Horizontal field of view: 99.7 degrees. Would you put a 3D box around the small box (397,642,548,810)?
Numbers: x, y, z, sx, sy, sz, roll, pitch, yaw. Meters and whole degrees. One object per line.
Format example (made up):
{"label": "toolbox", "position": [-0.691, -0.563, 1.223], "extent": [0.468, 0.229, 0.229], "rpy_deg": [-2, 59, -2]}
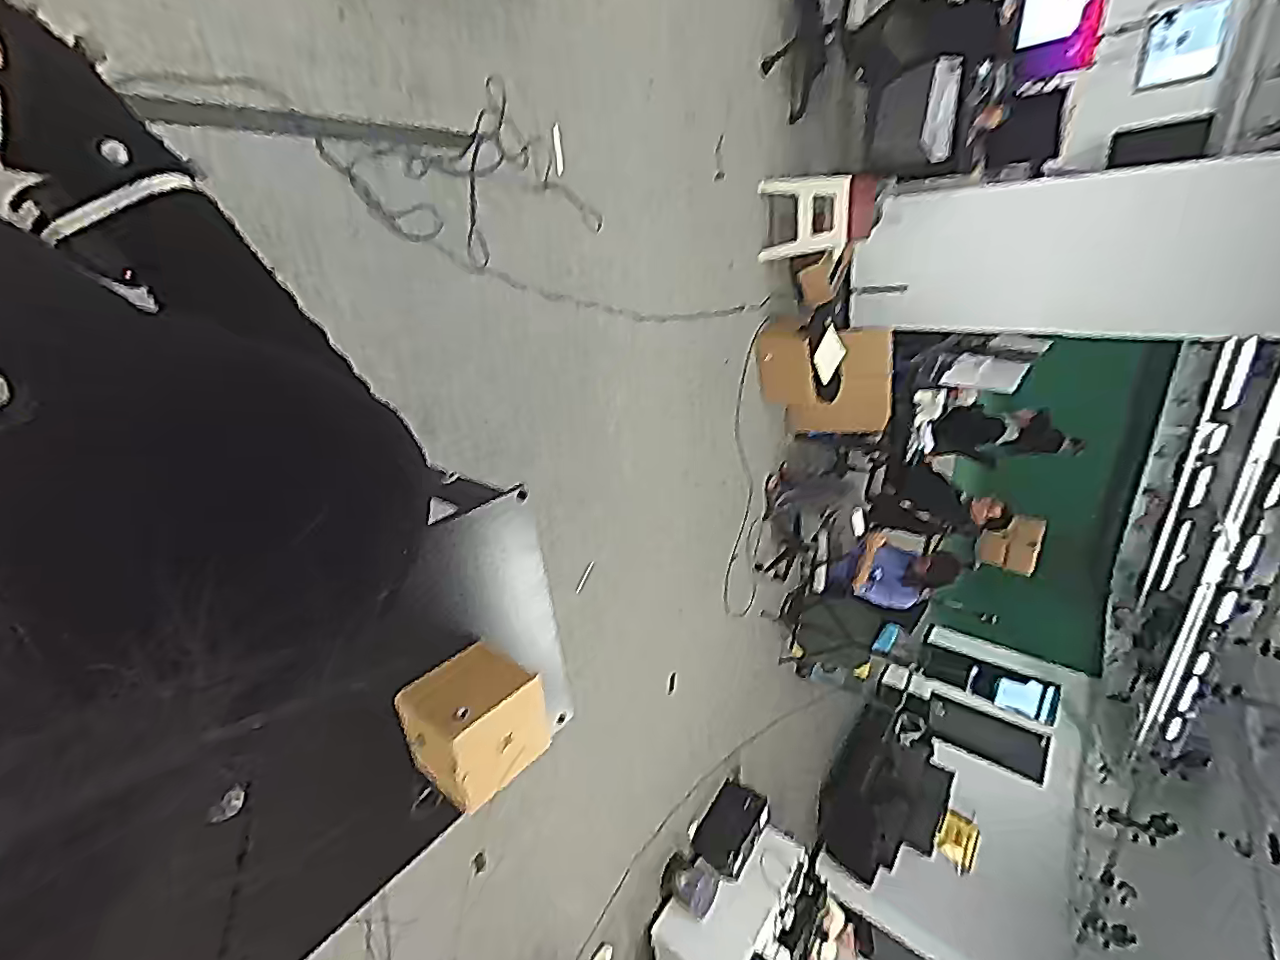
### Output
{"label": "small box", "position": [-0.291, 0.416, 0.950], "extent": [0.179, 0.176, 0.168], "rpy_deg": [-28, 122, -43]}
